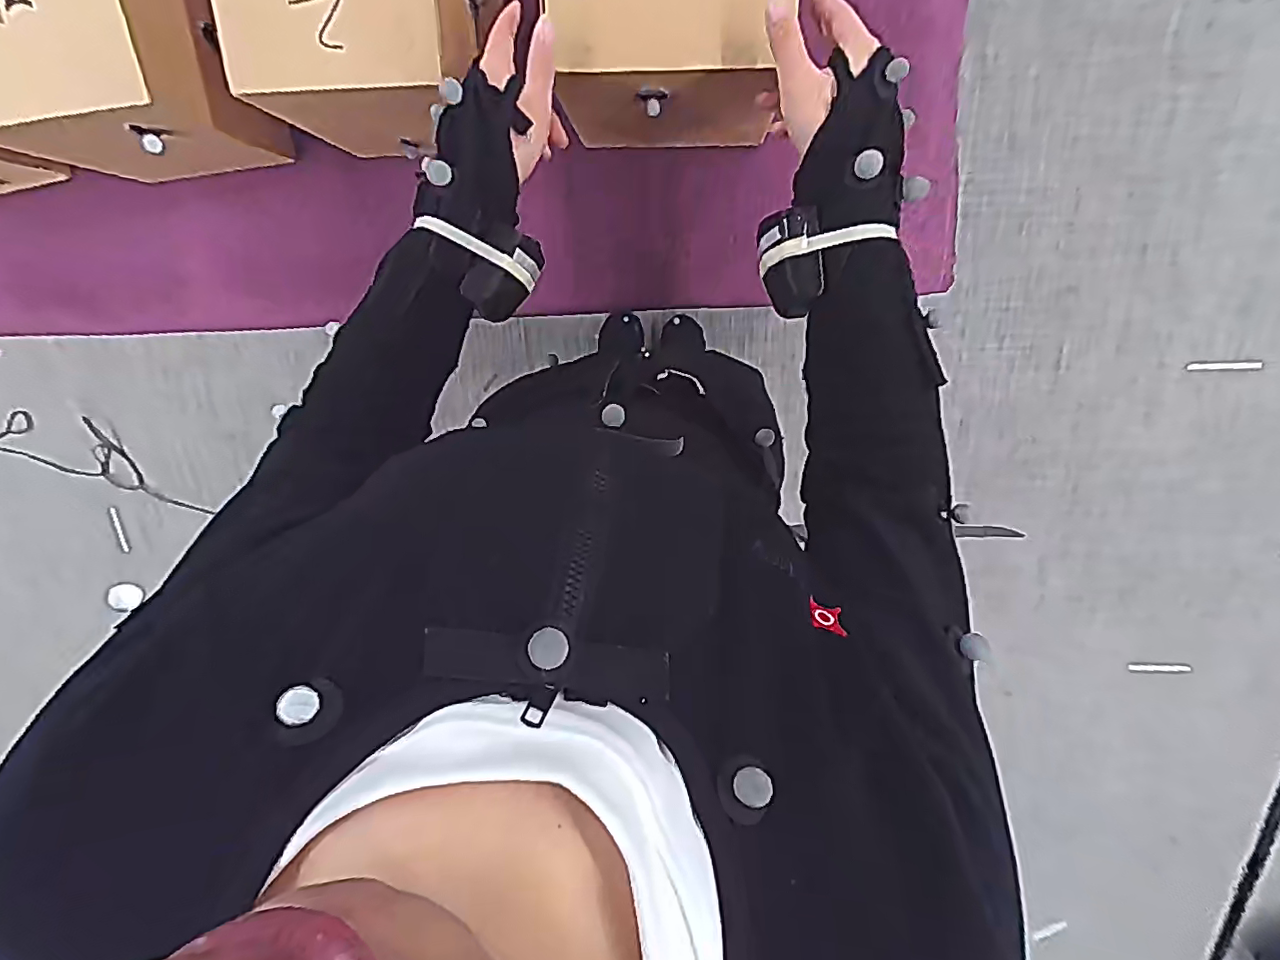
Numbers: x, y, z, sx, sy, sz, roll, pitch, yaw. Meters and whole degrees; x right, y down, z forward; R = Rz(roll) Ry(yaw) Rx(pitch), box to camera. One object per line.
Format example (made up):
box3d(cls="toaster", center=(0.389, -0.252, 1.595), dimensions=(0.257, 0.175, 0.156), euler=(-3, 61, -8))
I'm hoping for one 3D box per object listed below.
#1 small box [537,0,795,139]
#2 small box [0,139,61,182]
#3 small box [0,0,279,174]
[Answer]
box3d(cls="small box", center=(0.023, -0.388, 0.426), dimensions=(0.179, 0.176, 0.168), euler=(2, 107, 2))
box3d(cls="small box", center=(-0.710, -0.377, 0.492), dimensions=(0.168, 0.176, 0.179), euler=(-7, 106, 7))
box3d(cls="small box", center=(-0.454, -0.383, 0.468), dimensions=(0.179, 0.176, 0.168), euler=(-4, 106, 6))
